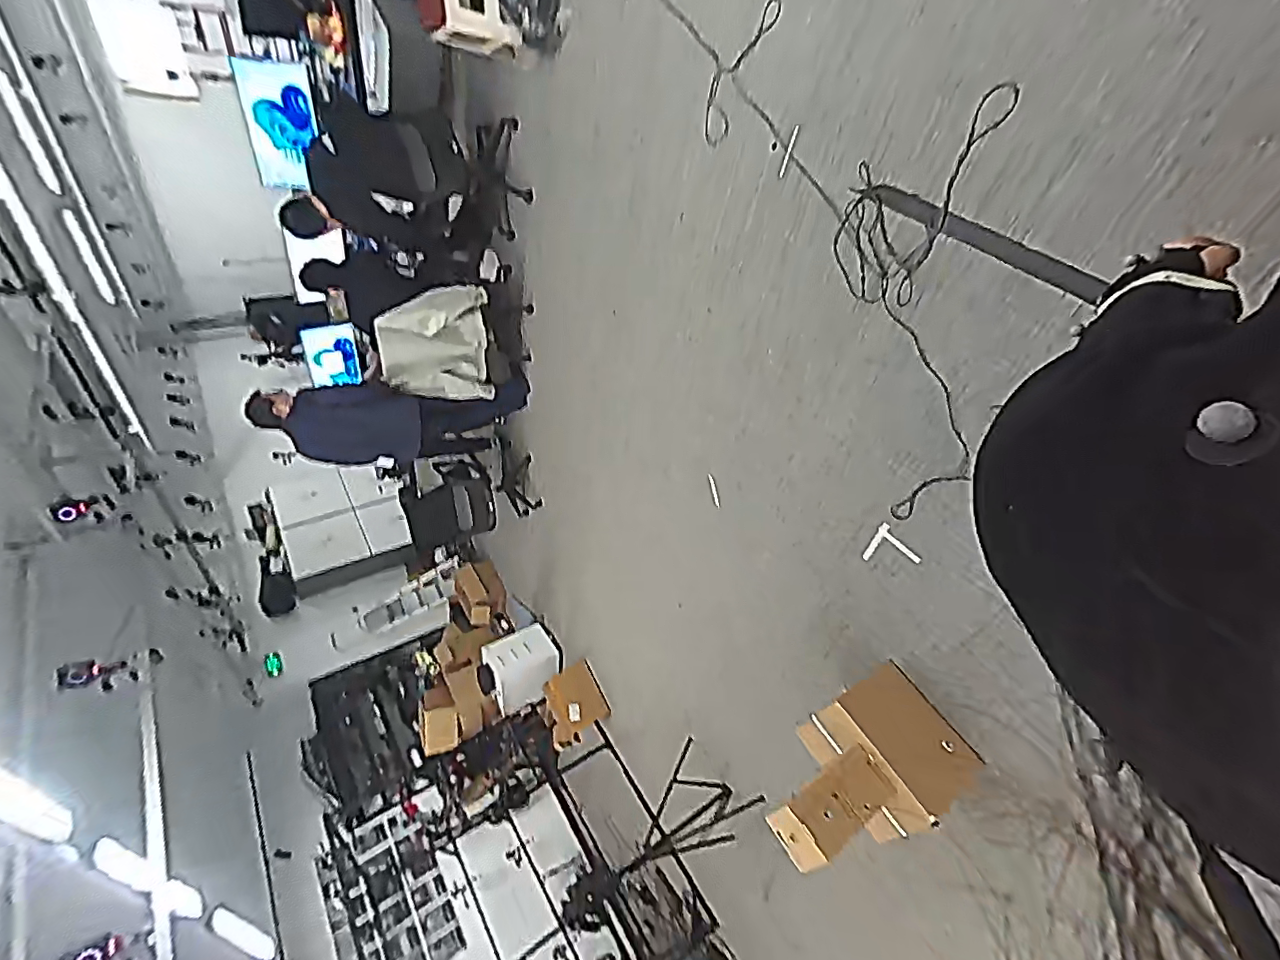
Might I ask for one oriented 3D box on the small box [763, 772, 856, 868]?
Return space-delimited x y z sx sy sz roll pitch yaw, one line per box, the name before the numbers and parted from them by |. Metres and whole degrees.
small box | 0.508 1.004 1.606 0.168 0.176 0.179 52 143 28
